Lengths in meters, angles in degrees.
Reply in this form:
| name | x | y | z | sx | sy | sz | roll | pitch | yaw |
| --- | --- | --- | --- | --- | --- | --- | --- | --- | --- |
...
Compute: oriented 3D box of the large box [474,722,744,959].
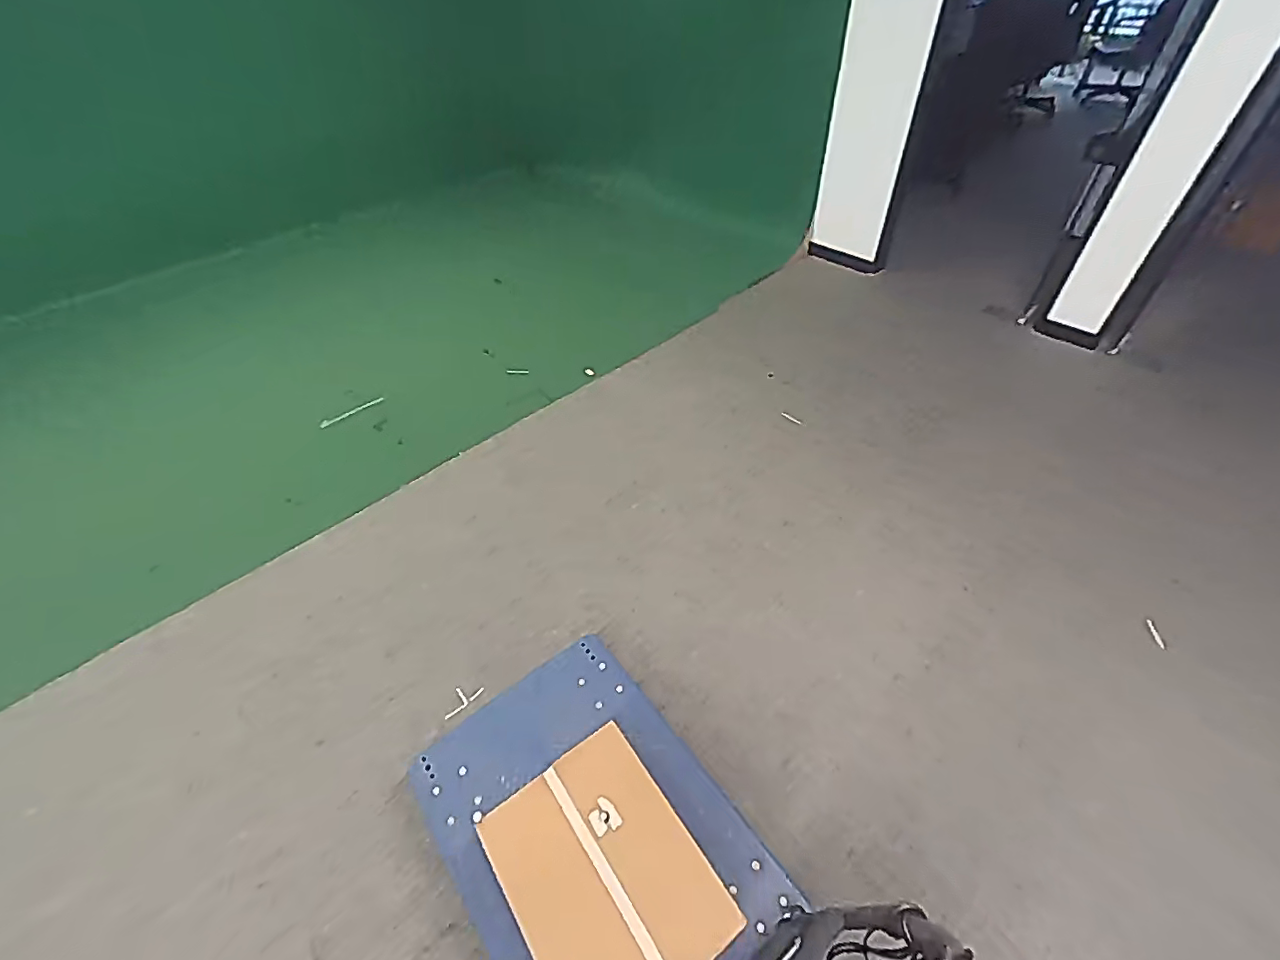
| name | x | y | z | sx | sy | sz | roll | pitch | yaw |
| --- | --- | --- | --- | --- | --- | --- | --- | --- | --- |
| large box | -0.058 | 0.773 | 1.043 | 0.320 | 0.320 | 0.408 | -28 | 53 | -22 |
